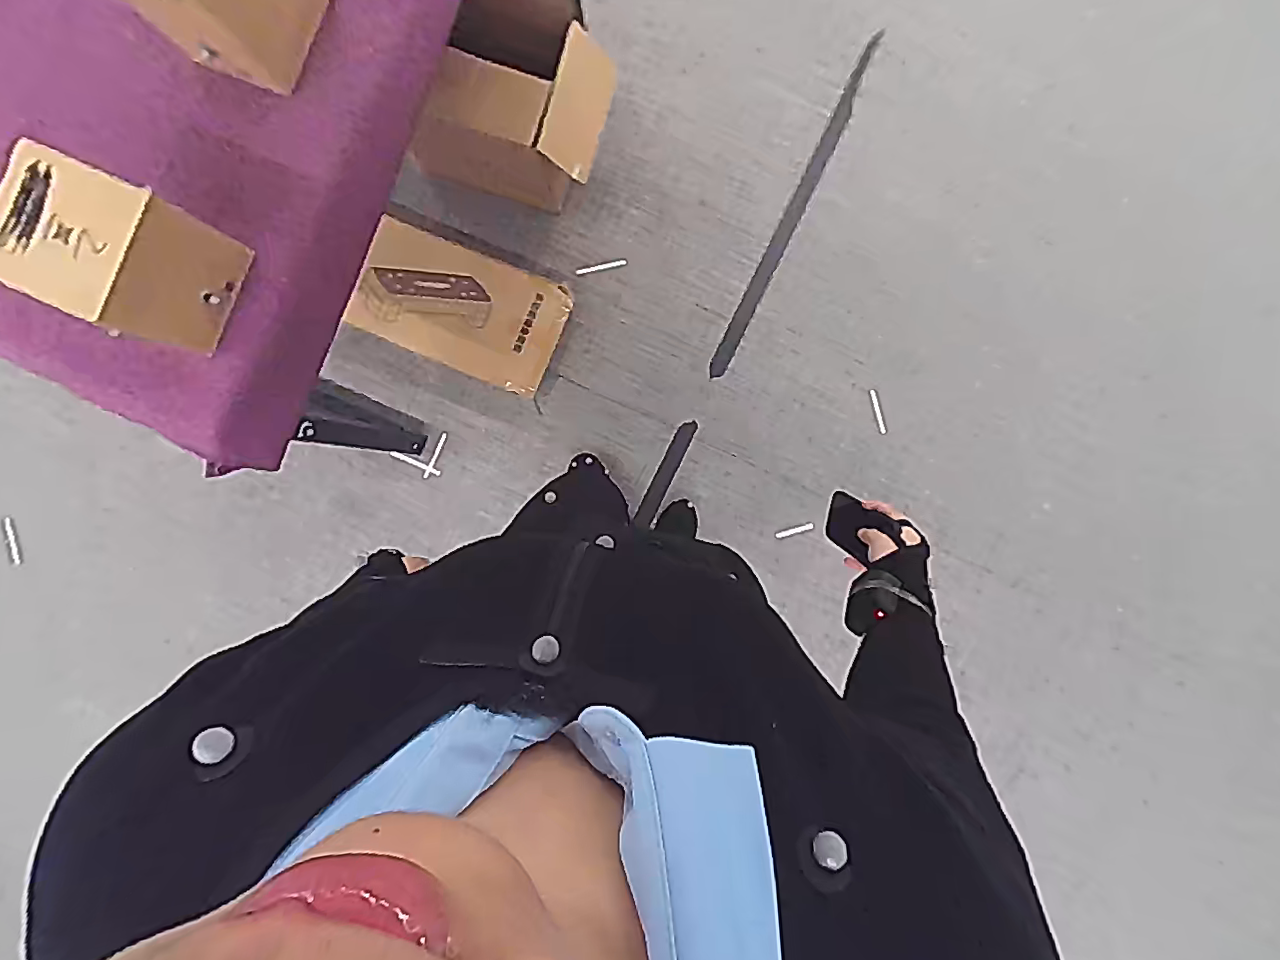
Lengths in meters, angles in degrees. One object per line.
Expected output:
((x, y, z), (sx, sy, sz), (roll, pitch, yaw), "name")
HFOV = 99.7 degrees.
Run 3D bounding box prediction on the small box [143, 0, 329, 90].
((-0.542, -0.665, 0.695), (0.168, 0.176, 0.179), (23, 90, 4), "small box")
